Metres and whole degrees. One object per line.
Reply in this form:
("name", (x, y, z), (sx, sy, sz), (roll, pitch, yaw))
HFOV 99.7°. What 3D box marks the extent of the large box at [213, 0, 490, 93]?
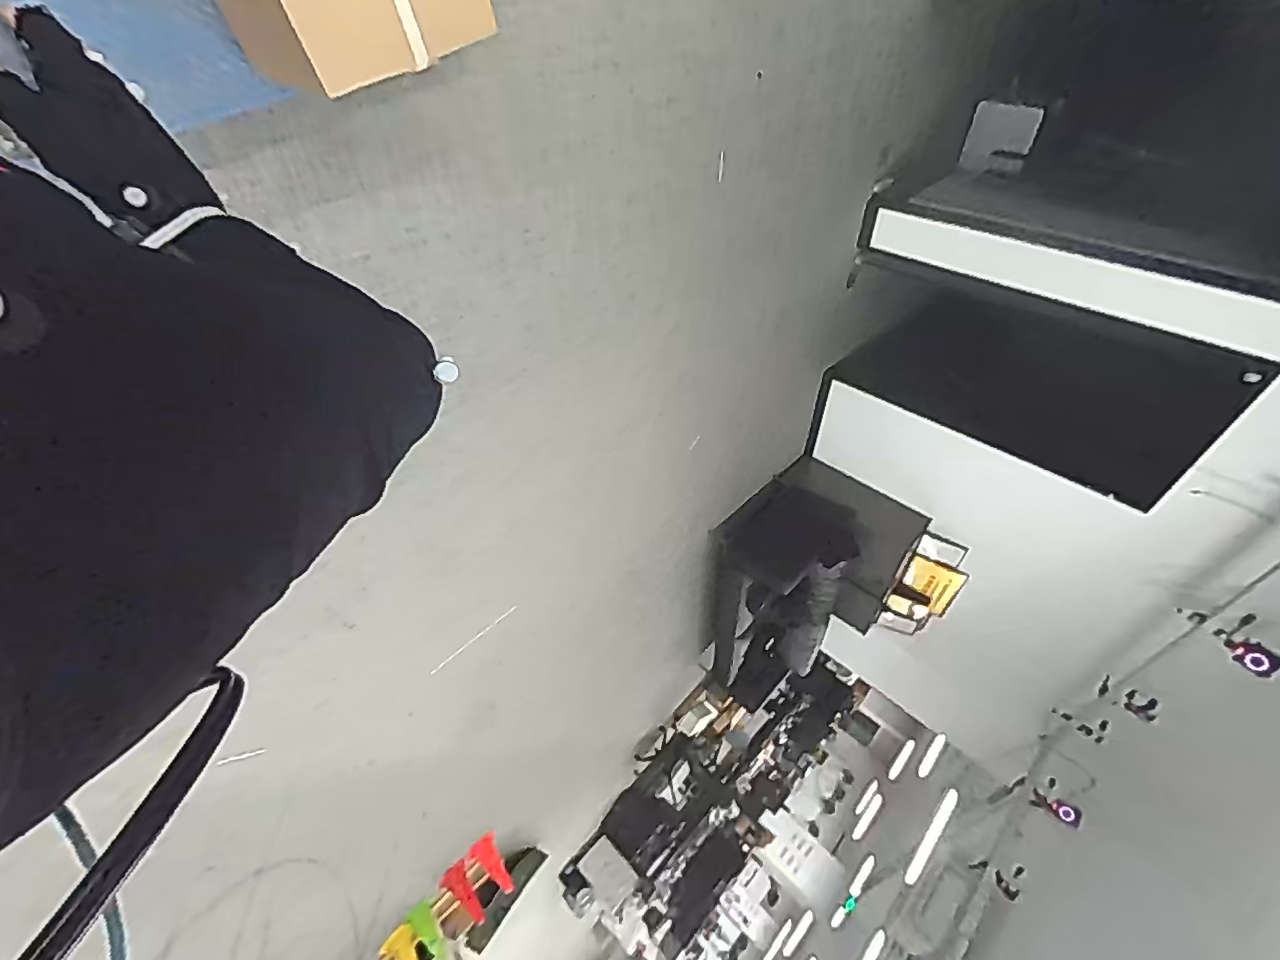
("large box", (-0.482, -0.838, 0.758), (0.320, 0.320, 0.408), (-41, 145, -22))
